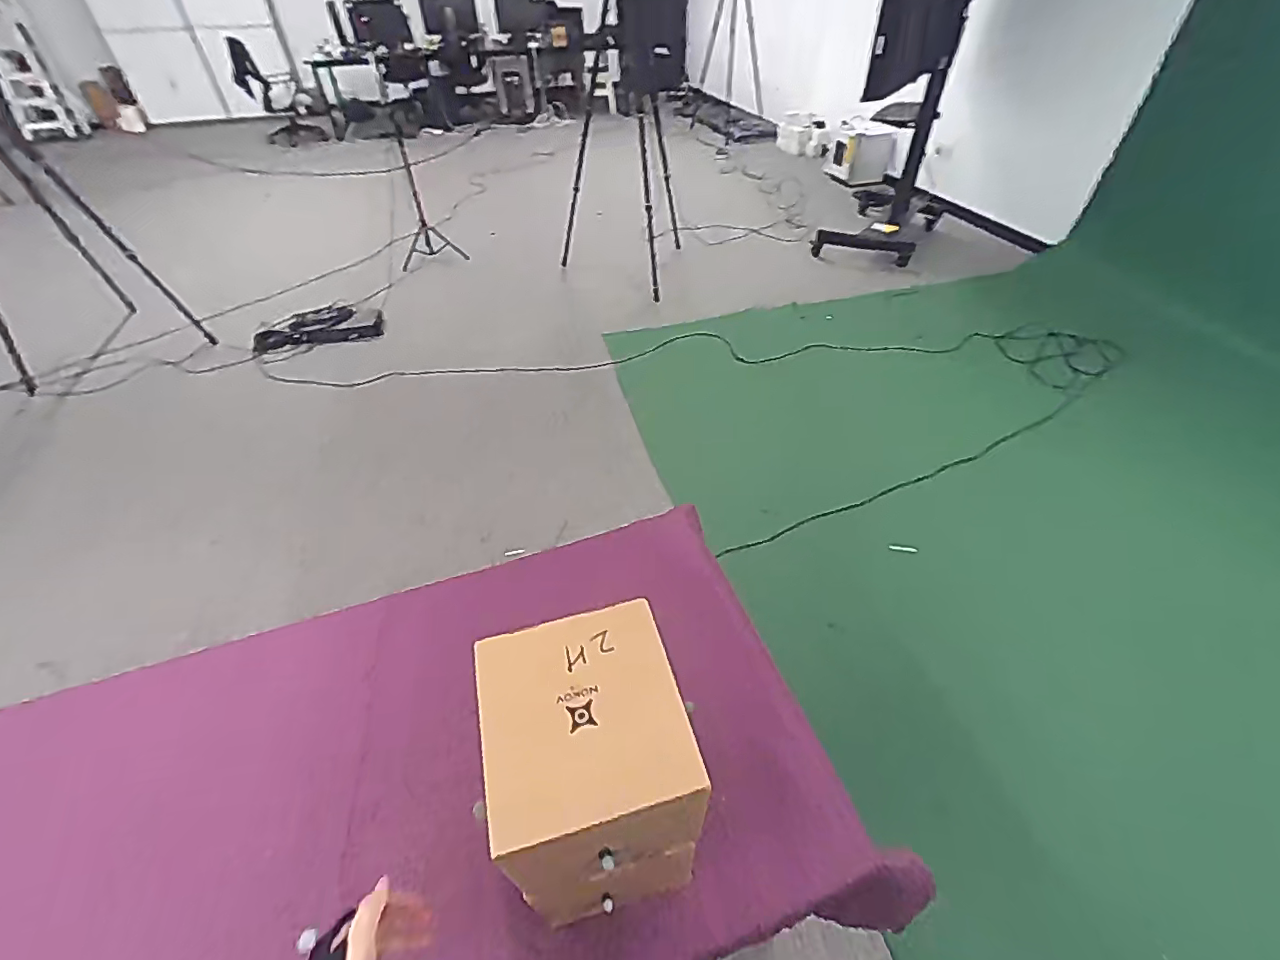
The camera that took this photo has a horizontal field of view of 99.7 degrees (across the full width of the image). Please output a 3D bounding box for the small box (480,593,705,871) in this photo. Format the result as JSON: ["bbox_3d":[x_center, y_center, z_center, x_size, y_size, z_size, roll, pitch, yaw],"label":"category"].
[{"bbox_3d":[-0.046,0.241,0.512,0.168,0.176,0.179,-12,45,-11],"label":"small box"}]

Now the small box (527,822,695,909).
[{"bbox_3d":[-0.044,0.359,0.628,0.168,0.176,0.179,-11,46,-9],"label":"small box"}]
